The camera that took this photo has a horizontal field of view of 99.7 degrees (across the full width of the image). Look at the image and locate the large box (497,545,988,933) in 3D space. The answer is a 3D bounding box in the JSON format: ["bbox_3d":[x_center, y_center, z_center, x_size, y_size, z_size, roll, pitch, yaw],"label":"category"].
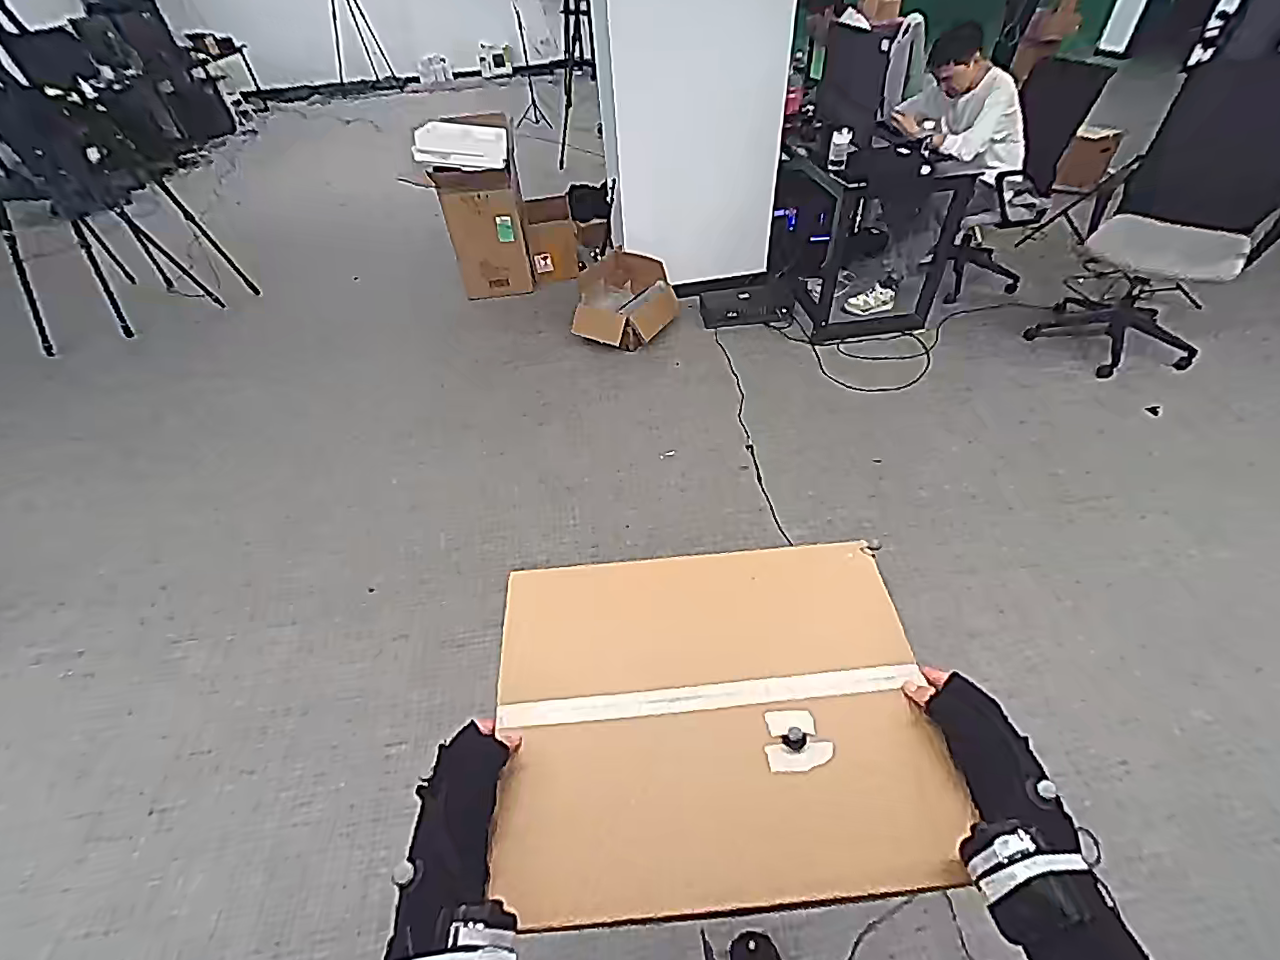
[{"bbox_3d":[0.074,0.305,0.633,0.408,0.320,0.320,-5,50,-2],"label":"large box"}]
